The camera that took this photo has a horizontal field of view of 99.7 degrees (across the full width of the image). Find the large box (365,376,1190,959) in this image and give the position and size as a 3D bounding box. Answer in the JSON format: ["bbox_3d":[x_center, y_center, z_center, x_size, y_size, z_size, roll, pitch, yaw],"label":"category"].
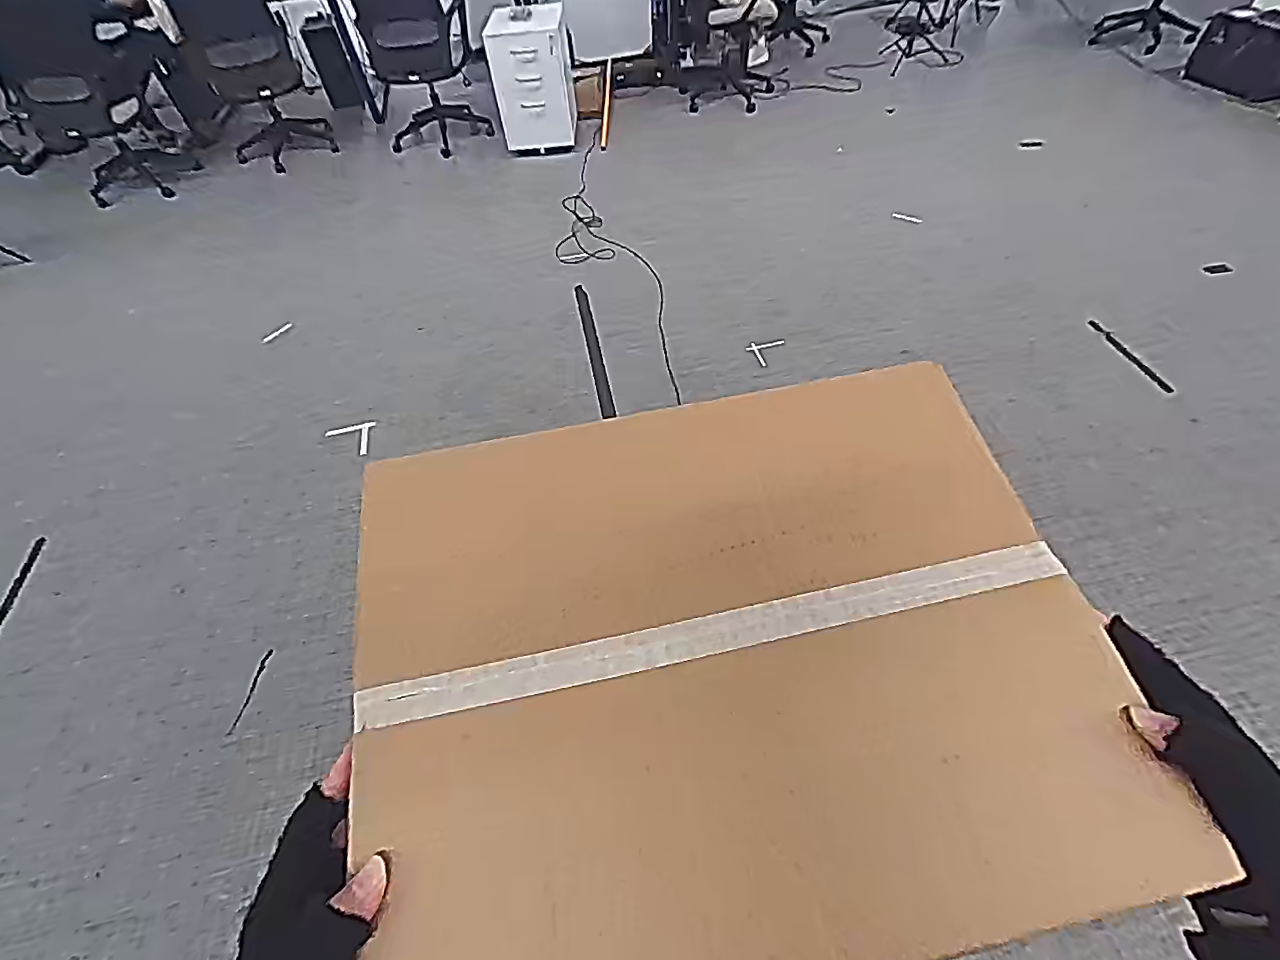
[{"bbox_3d":[0.050,0.164,0.445,0.408,0.320,0.320,-12,62,-4],"label":"large box"}]
